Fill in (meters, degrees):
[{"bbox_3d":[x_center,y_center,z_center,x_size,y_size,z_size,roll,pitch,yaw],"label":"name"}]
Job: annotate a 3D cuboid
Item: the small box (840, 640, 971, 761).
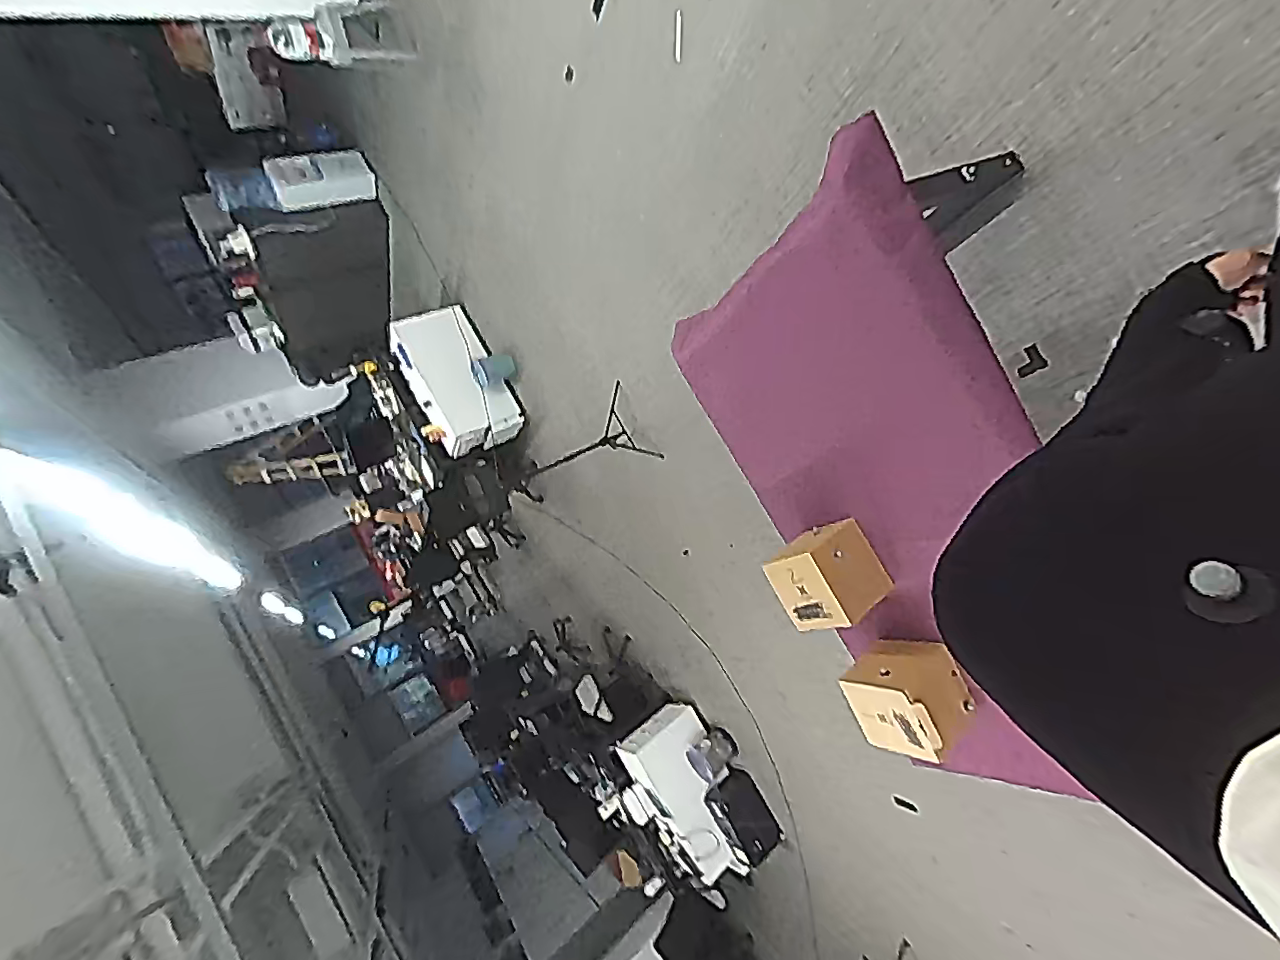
[{"bbox_3d":[0.580,0.465,1.172,0.168,0.176,0.179,63,151,-2],"label":"small box"}]
